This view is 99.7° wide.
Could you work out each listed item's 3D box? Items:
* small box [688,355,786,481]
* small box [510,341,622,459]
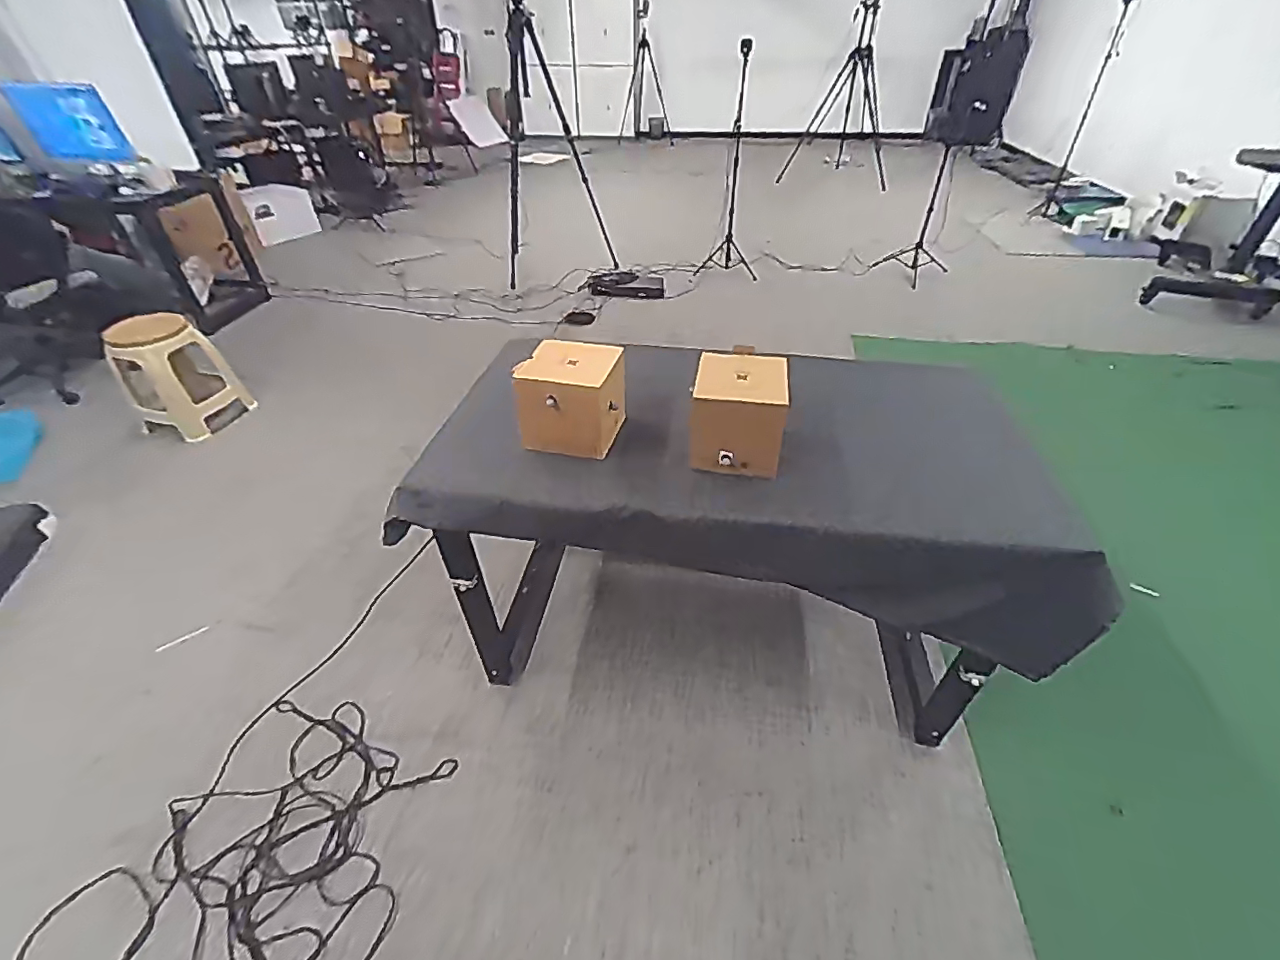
[{"bbox_3d":[0.184,-0.121,1.044,0.168,0.176,0.179,5,40,8],"label":"small box"},{"bbox_3d":[-0.138,-0.160,1.089,0.179,0.176,0.168,9,40,11],"label":"small box"}]
